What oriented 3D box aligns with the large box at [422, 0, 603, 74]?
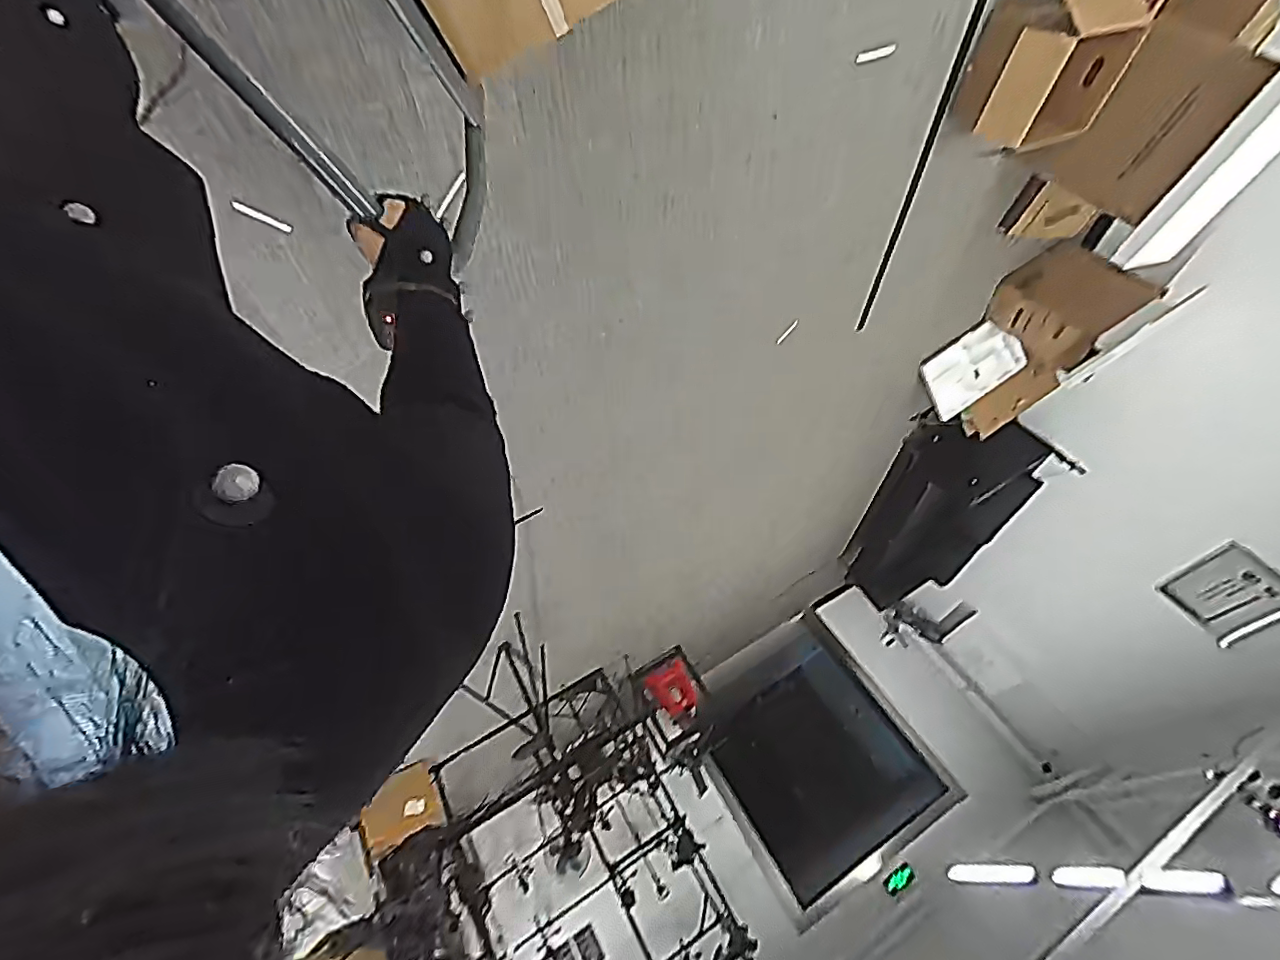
[{"bbox_3d":[-0.220,-0.866,0.685,0.320,0.320,0.408,-20,152,11],"label":"large box"}]
